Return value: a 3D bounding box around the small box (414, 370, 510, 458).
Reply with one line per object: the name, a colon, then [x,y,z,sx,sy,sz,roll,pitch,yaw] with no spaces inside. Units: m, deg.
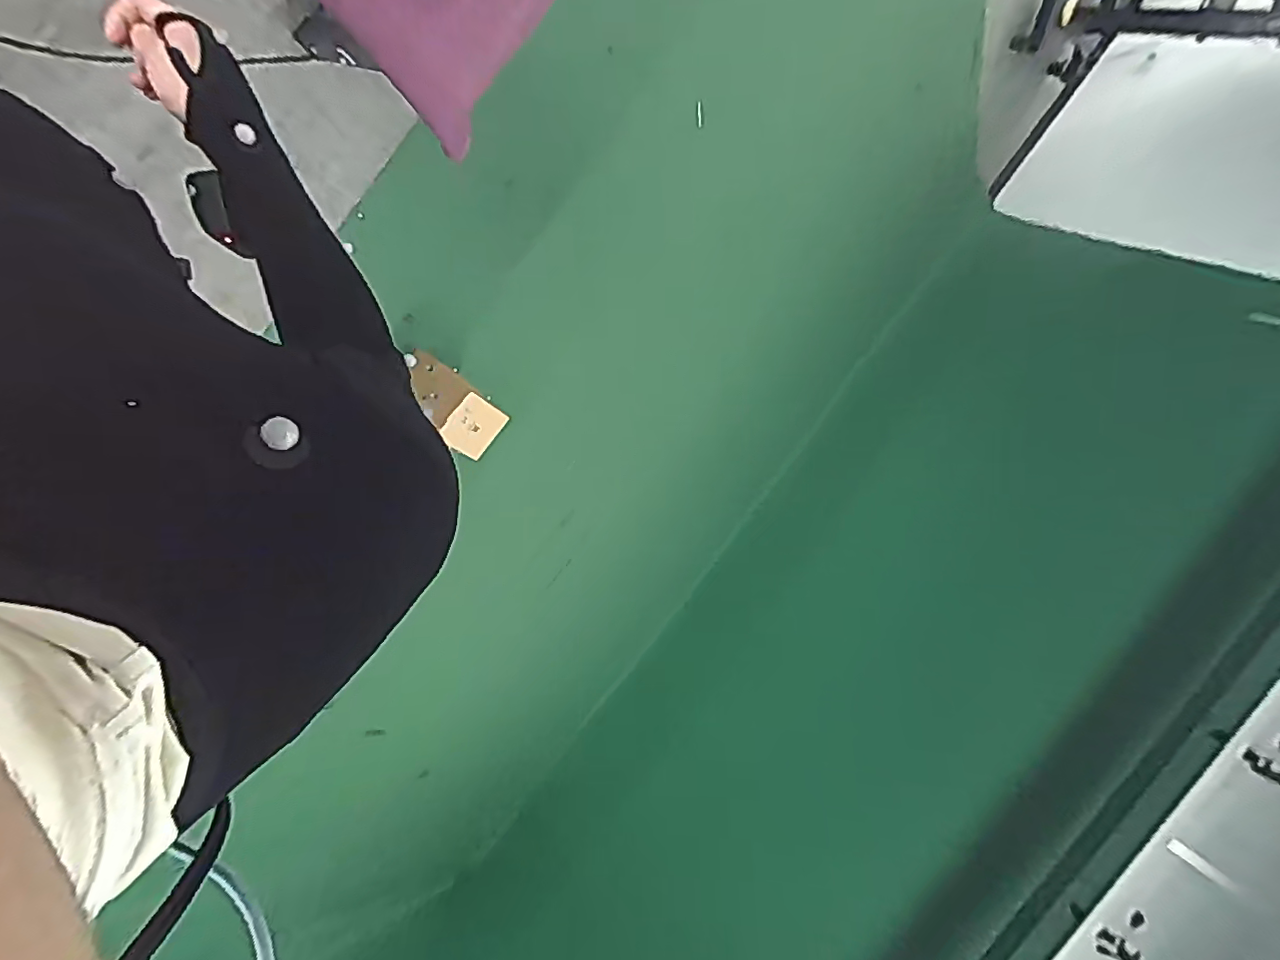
small box: [-0.529,-0.199,1.606,0.168,0.176,0.179,-52,146,-1]
